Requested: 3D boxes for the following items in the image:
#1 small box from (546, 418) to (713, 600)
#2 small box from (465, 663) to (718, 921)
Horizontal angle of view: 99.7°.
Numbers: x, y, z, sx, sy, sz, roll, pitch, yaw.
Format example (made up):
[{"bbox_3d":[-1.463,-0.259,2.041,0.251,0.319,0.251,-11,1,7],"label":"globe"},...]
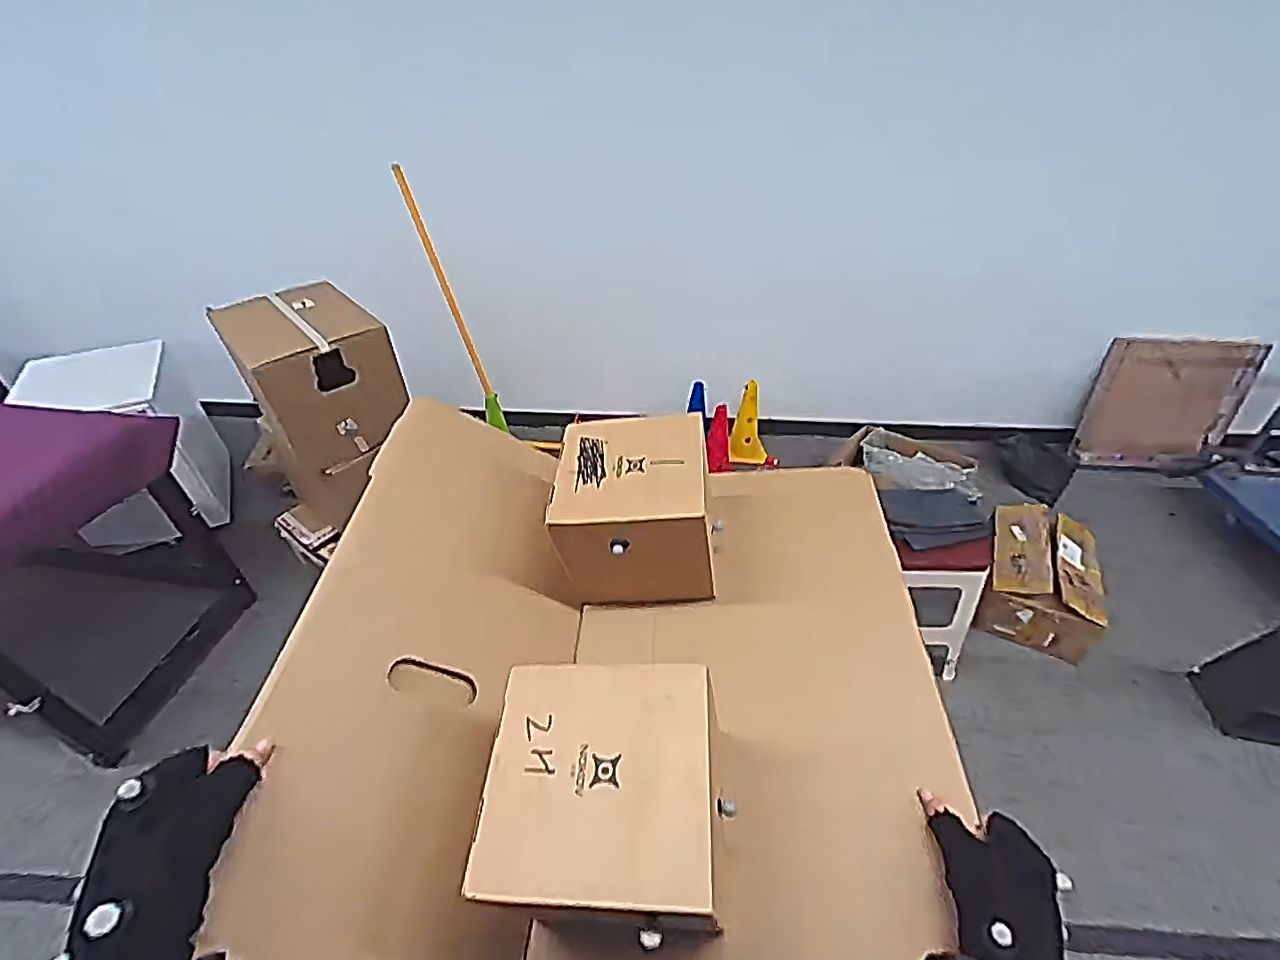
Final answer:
[{"bbox_3d":[-0.001,0.042,0.694,0.179,0.176,0.168,-4,47,9],"label":"small box"},{"bbox_3d":[-0.021,0.276,0.481,0.179,0.176,0.168,-4,47,10],"label":"small box"}]
